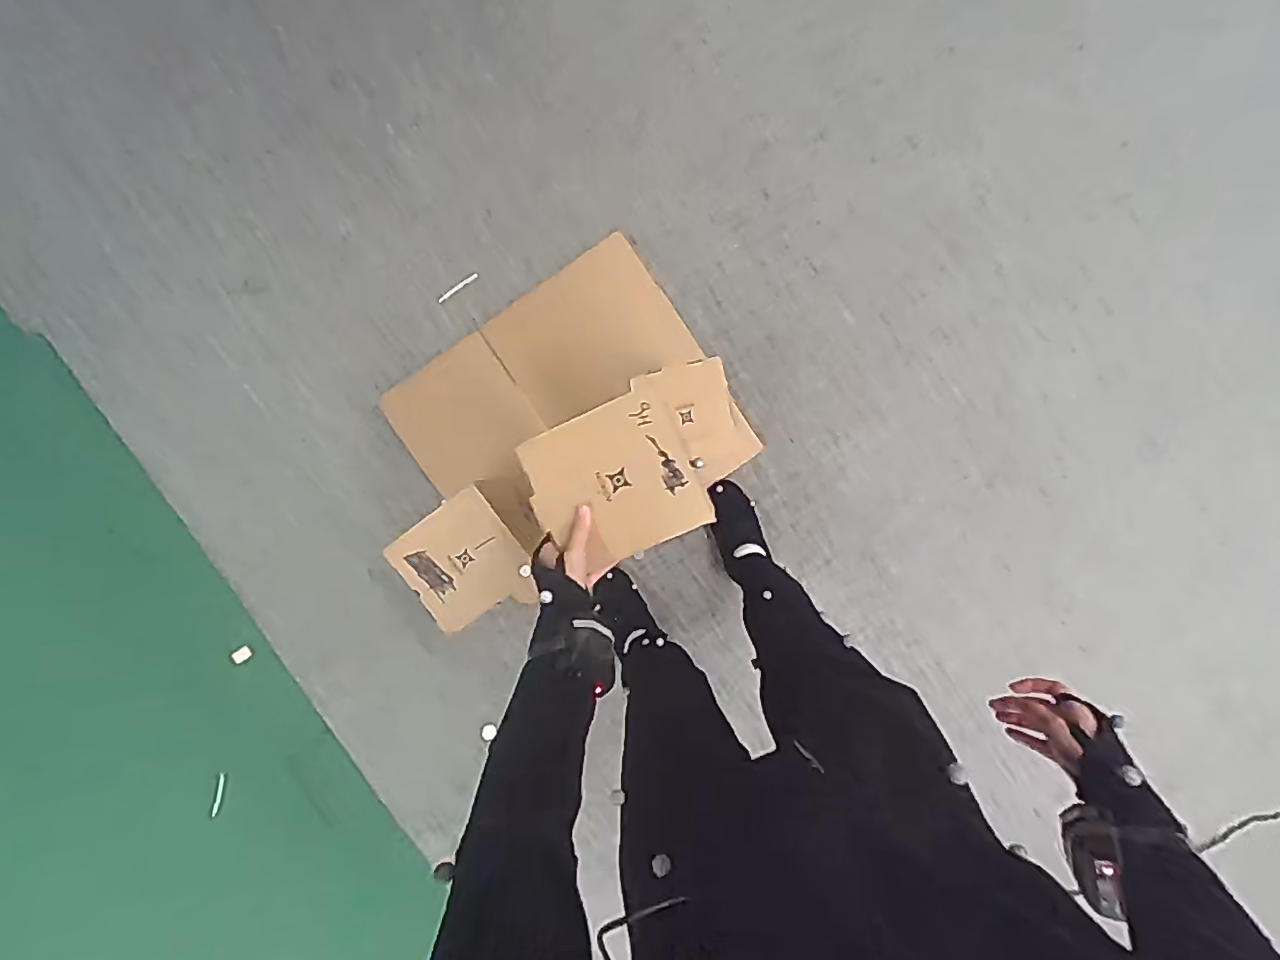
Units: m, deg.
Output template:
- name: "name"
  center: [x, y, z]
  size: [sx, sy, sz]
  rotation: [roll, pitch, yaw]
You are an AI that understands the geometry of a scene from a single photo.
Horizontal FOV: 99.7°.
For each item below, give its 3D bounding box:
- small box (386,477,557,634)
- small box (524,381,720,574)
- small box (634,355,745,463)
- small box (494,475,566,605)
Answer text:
- name: "small box"
  center: [-0.256, 0.110, 0.868]
  size: [0.179, 0.176, 0.168]
  rotation: [-36, 93, 3]
- name: "small box"
  center: [-0.010, 0.001, 0.666]
  size: [0.179, 0.176, 0.168]
  rotation: [-23, 86, 8]
- name: "small box"
  center: [0.083, -0.117, 1.008]
  size: [0.168, 0.176, 0.179]
  rotation: [-13, 94, 1]
- name: "small box"
  center: [-0.239, 0.103, 1.032]
  size: [0.168, 0.176, 0.179]
  rotation: [-35, 92, 3]
